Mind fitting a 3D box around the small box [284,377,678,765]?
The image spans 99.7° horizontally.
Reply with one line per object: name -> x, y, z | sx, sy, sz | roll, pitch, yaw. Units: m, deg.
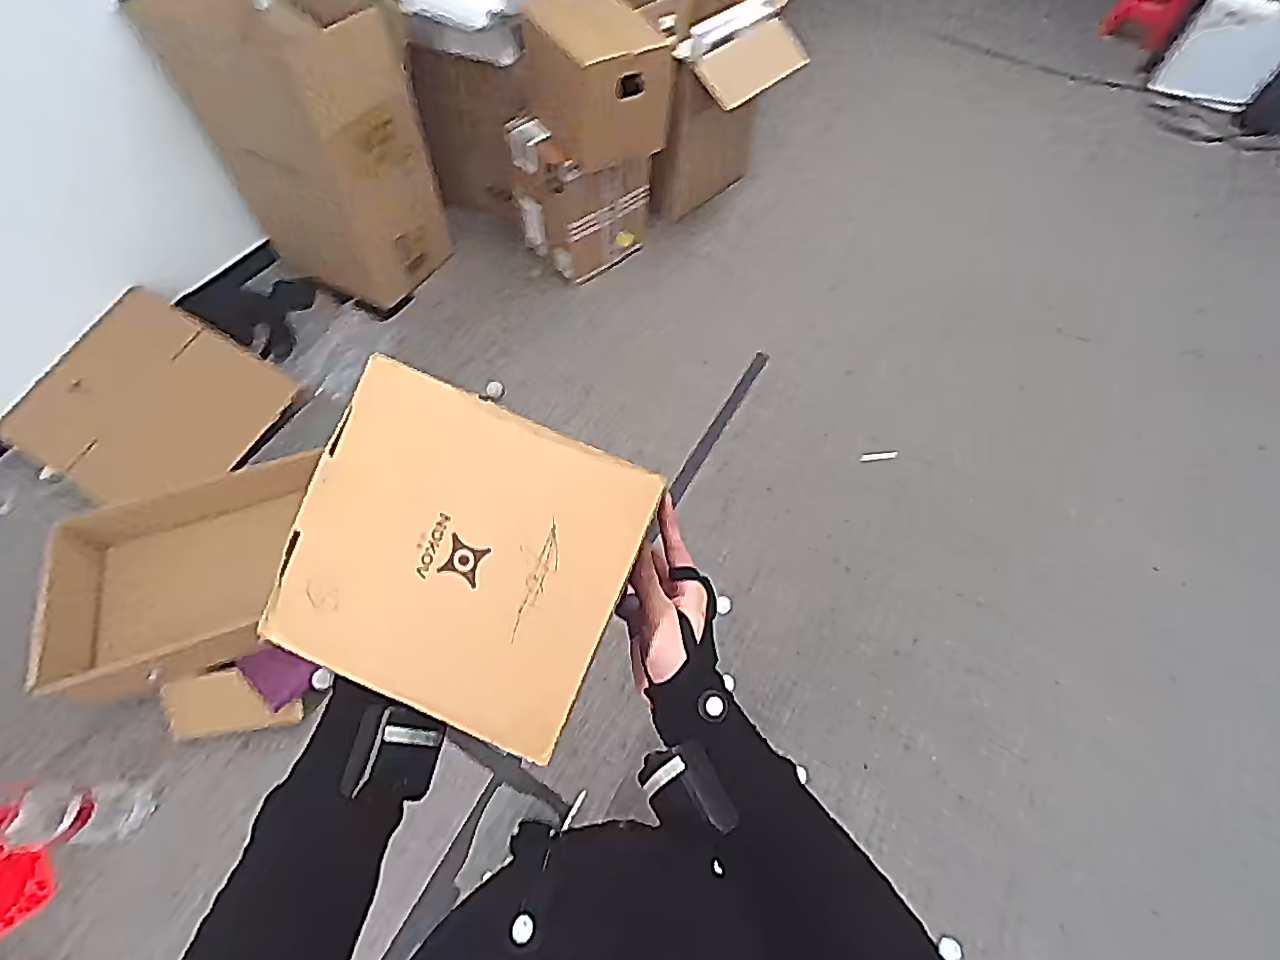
small box -> -0.086, 0.051, 0.378 | 0.179, 0.176, 0.168 | 24, 91, 3
